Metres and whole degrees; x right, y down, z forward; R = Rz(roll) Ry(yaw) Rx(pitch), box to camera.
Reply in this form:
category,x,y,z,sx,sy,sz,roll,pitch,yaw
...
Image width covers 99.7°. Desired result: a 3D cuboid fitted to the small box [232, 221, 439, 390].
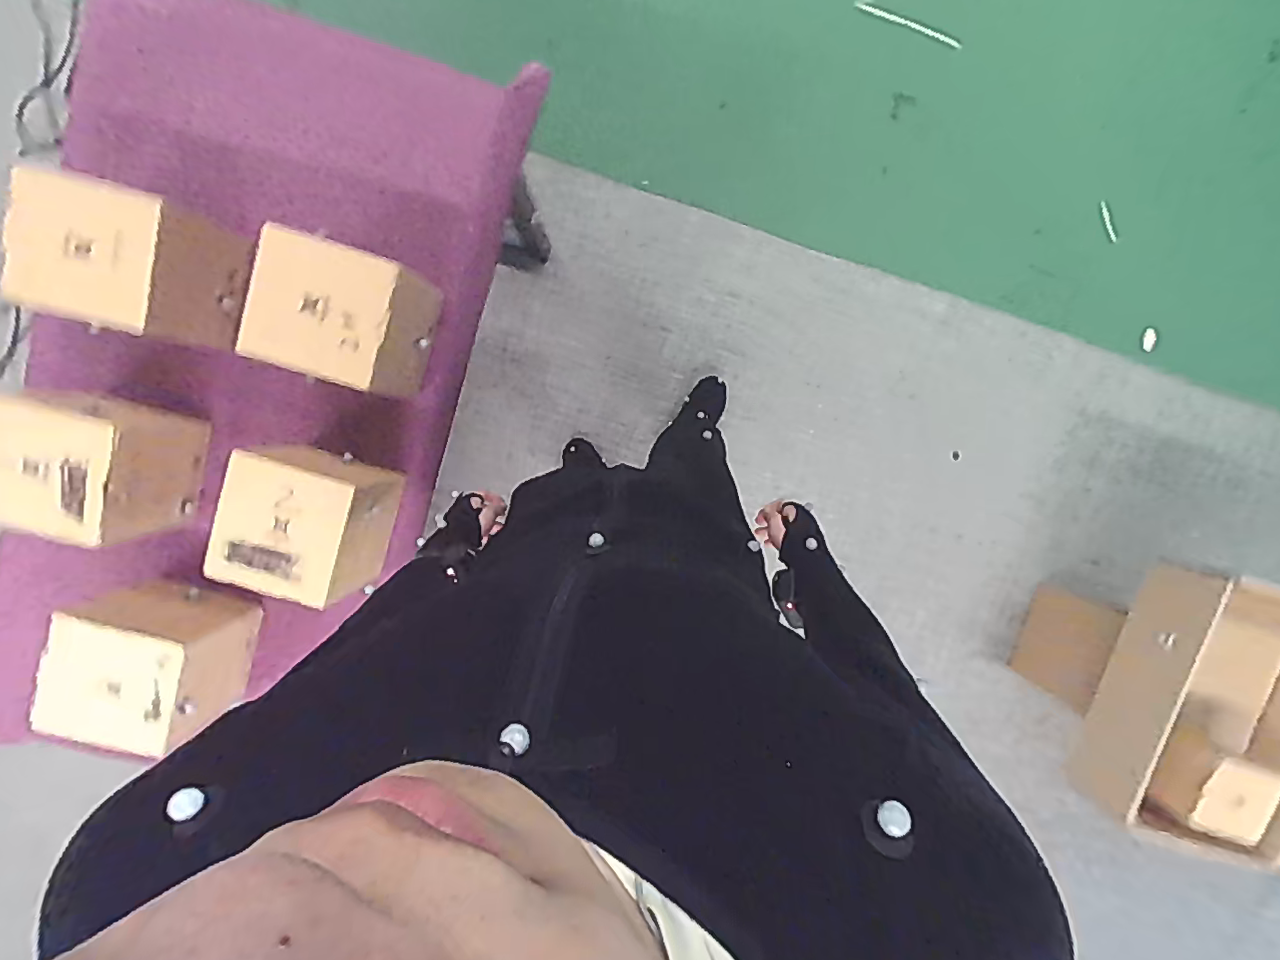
category,x,y,z,sx,sy,sz,roll,pitch,yaw
small box,-0.412,-0.229,0.760,0.179,0.176,0.168,17,96,-3

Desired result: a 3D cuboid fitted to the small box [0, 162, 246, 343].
category,x,y,z,sx,sy,sz,roll,pitch,yaw
small box,-0.695,-0.295,0.742,0.179,0.176,0.168,14,97,-5

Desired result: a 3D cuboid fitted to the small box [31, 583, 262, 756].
category,x,y,z,sx,sy,sz,roll,pitch,yaw
small box,-0.716,0.267,0.802,0.179,0.176,0.168,16,97,-4

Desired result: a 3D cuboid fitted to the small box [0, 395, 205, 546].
category,x,y,z,sx,sy,sz,roll,pitch,yaw
small box,-0.773,-0.022,0.769,0.179,0.176,0.168,14,96,-4
